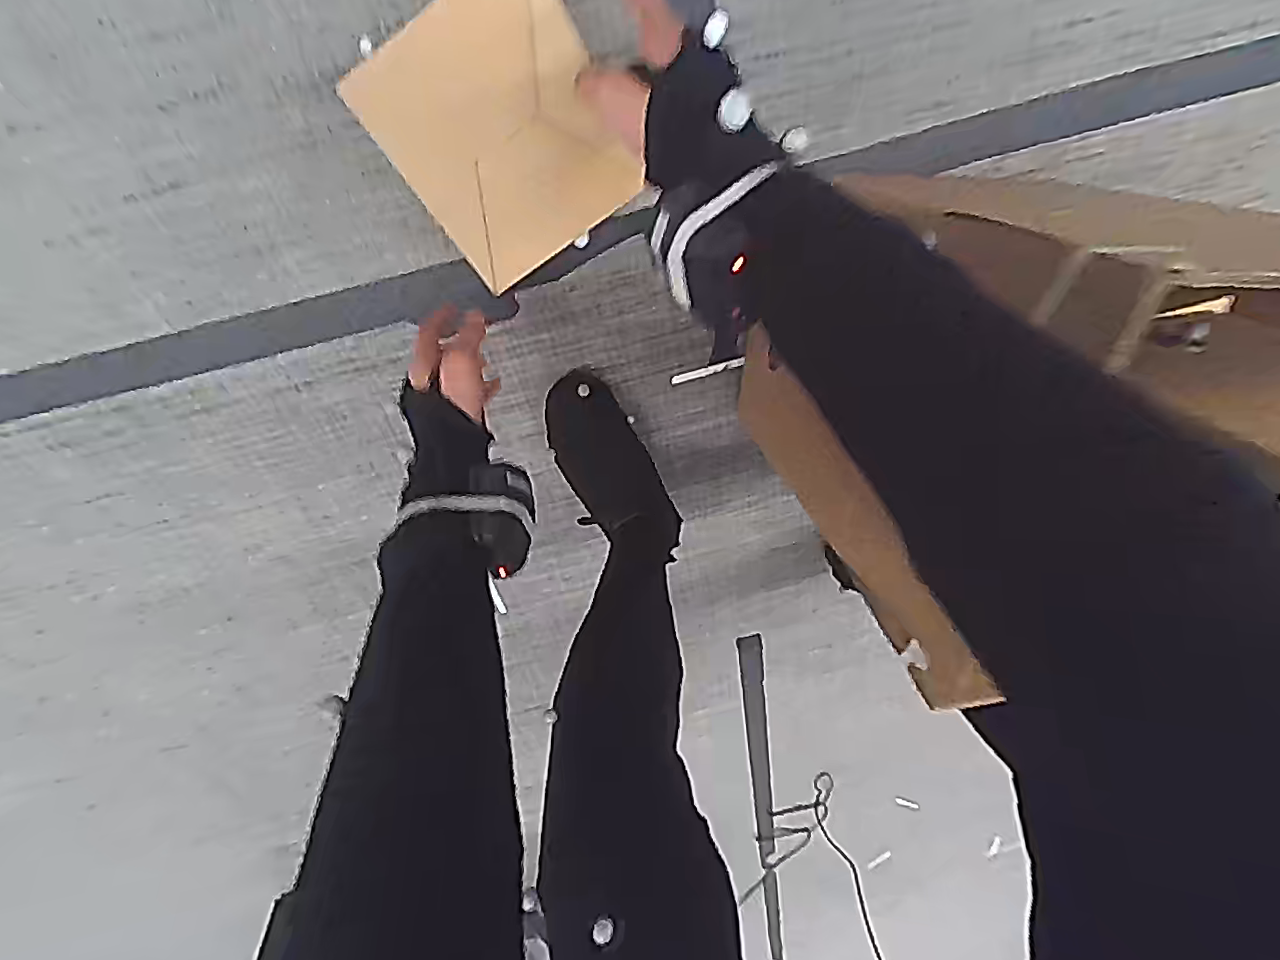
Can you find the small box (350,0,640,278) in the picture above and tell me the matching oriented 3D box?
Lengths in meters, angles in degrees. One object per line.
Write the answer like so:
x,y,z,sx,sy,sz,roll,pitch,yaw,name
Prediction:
-0.116,-0.307,0.462,0.168,0.176,0.179,-31,124,10,small box
